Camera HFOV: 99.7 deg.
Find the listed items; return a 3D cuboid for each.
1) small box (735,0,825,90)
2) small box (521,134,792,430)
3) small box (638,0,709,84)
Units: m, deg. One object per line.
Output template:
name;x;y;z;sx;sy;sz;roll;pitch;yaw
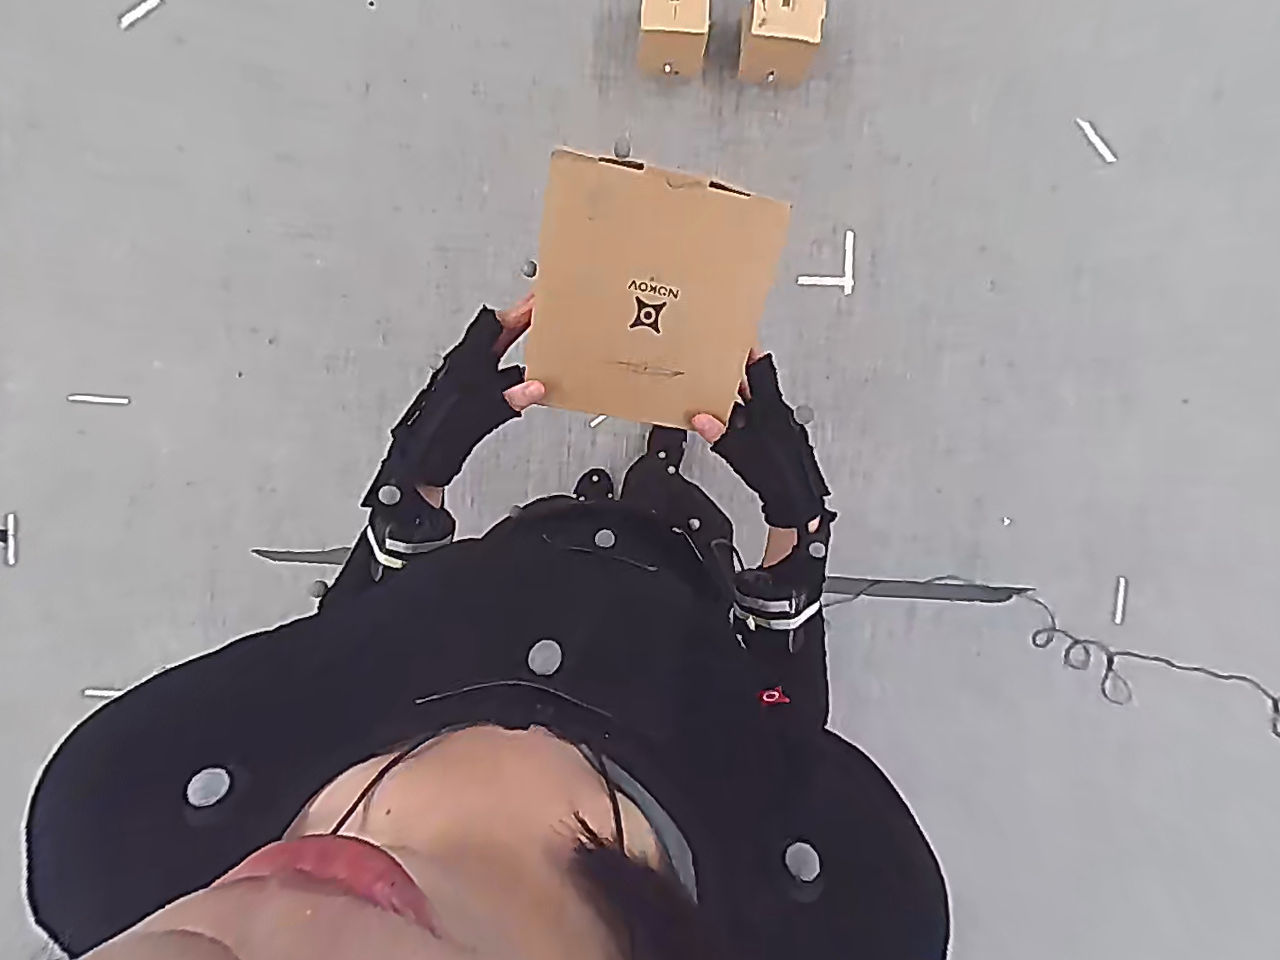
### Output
small box;0.358;-1.153;1.401;0.179;0.176;0.168;6;93;-4
small box;0.000;-0.165;0.456;0.168;0.176;0.179;9;118;-9
small box;0.082;-1.167;1.386;0.168;0.176;0.179;2;94;-2
